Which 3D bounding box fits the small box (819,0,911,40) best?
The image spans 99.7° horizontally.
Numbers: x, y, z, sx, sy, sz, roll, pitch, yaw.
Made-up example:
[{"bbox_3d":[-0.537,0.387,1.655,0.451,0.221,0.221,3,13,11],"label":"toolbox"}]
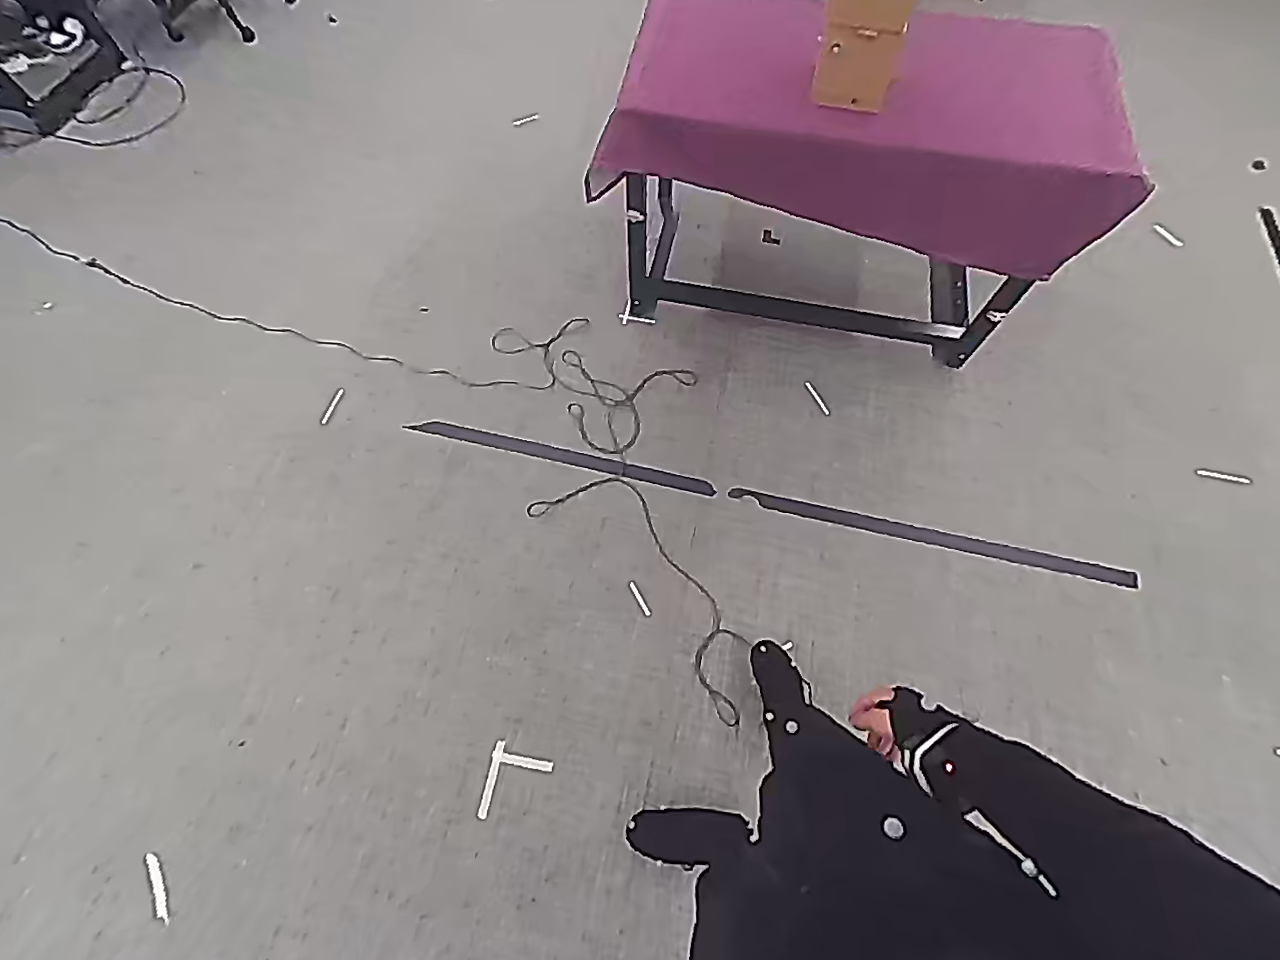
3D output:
[{"bbox_3d":[0.488,-1.064,1.131,0.179,0.176,0.168,13,65,6],"label":"small box"}]
